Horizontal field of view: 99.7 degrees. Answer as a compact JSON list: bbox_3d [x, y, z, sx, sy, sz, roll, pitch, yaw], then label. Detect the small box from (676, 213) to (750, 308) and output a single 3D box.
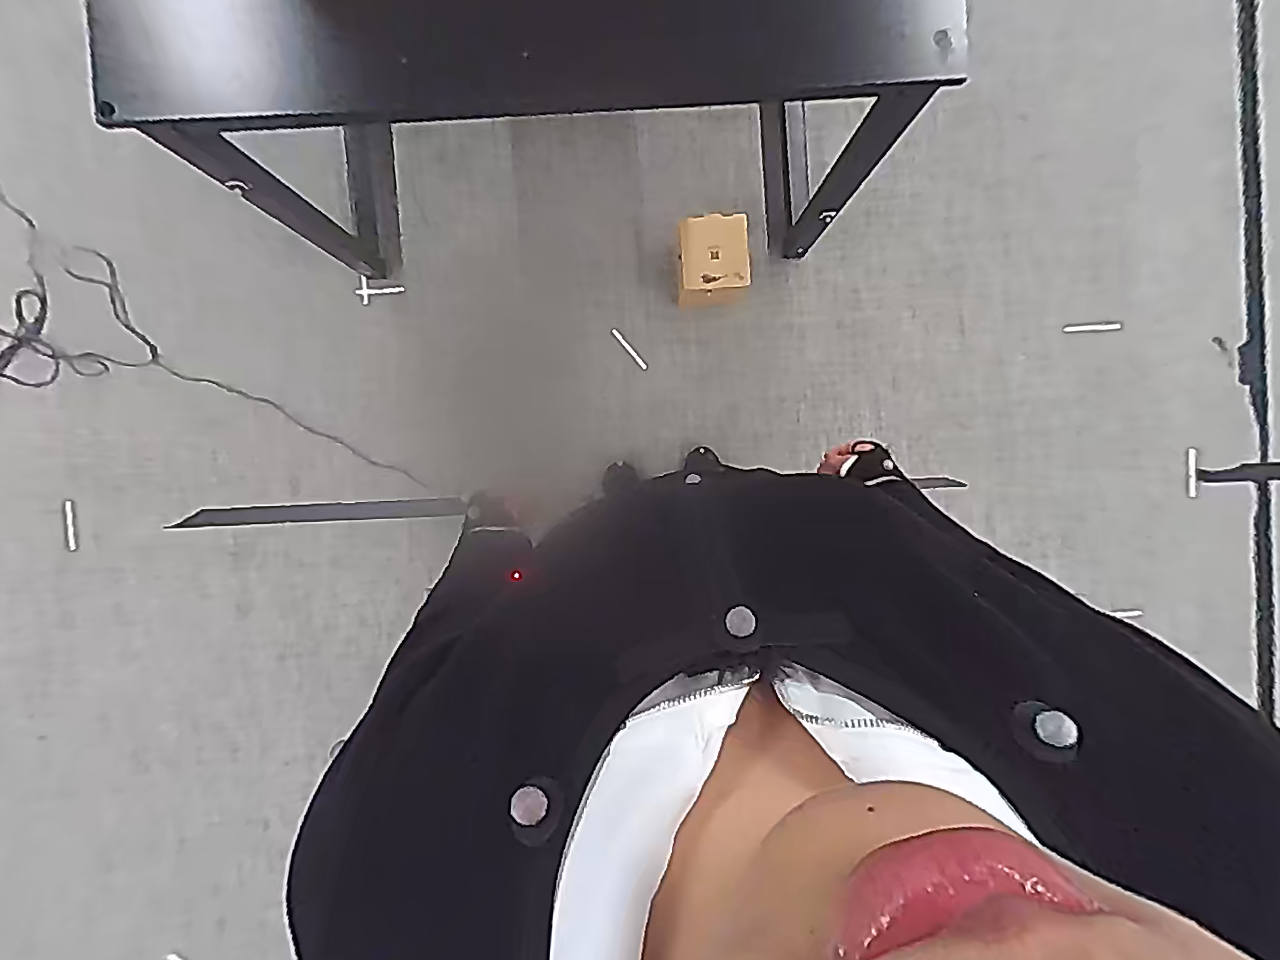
[{"bbox_3d":[0.182,-0.559,1.394,0.168,0.176,0.179,-4,92,1],"label":"small box"}]
